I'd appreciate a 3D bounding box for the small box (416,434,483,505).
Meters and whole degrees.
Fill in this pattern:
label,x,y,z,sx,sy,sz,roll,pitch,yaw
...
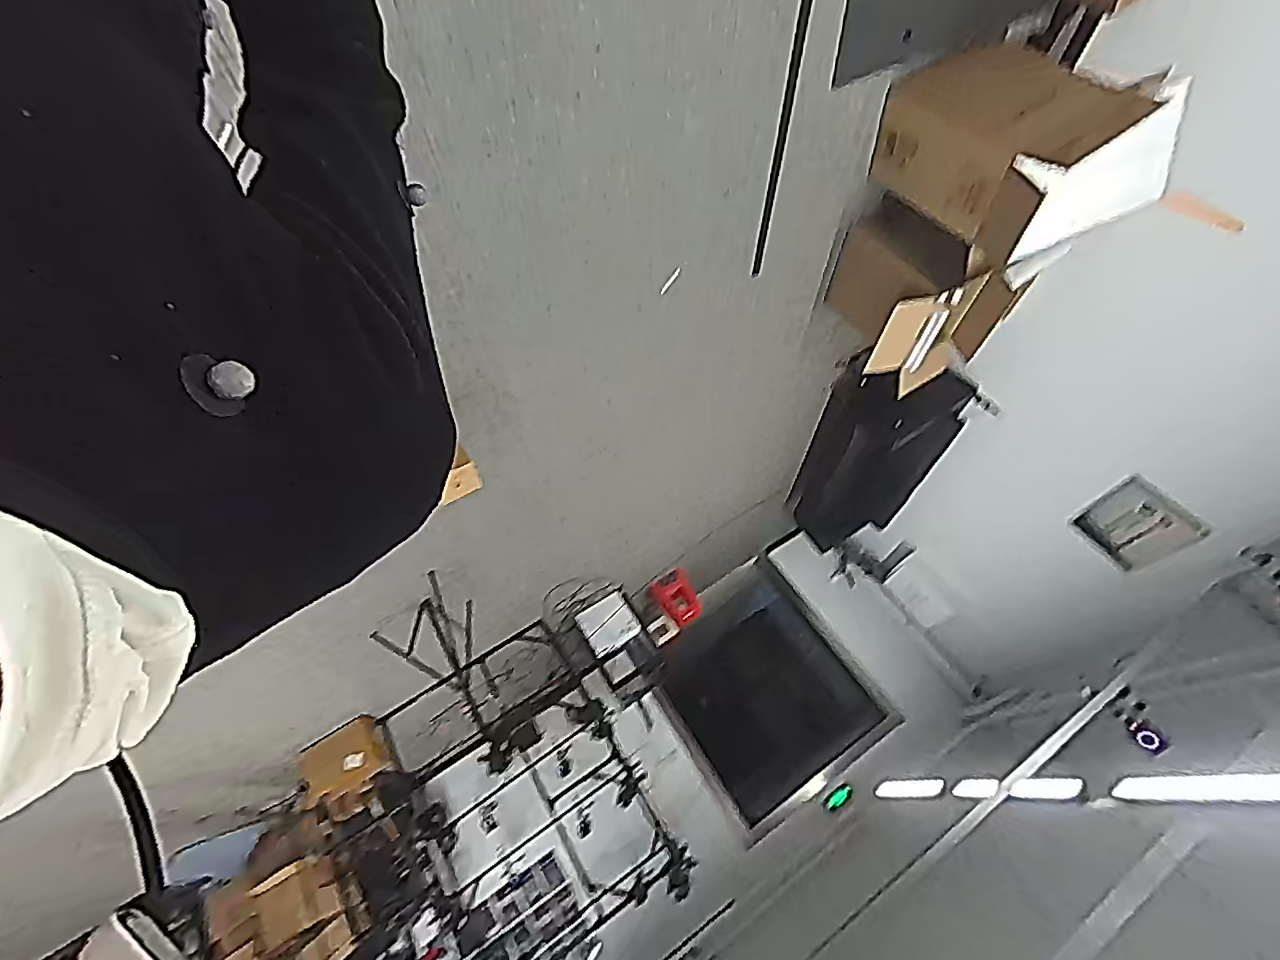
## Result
label,x,y,z,sx,sy,sz,roll,pitch,yaw
small box,-0.726,-0.041,2.060,0.168,0.176,0.179,-30,153,-18
